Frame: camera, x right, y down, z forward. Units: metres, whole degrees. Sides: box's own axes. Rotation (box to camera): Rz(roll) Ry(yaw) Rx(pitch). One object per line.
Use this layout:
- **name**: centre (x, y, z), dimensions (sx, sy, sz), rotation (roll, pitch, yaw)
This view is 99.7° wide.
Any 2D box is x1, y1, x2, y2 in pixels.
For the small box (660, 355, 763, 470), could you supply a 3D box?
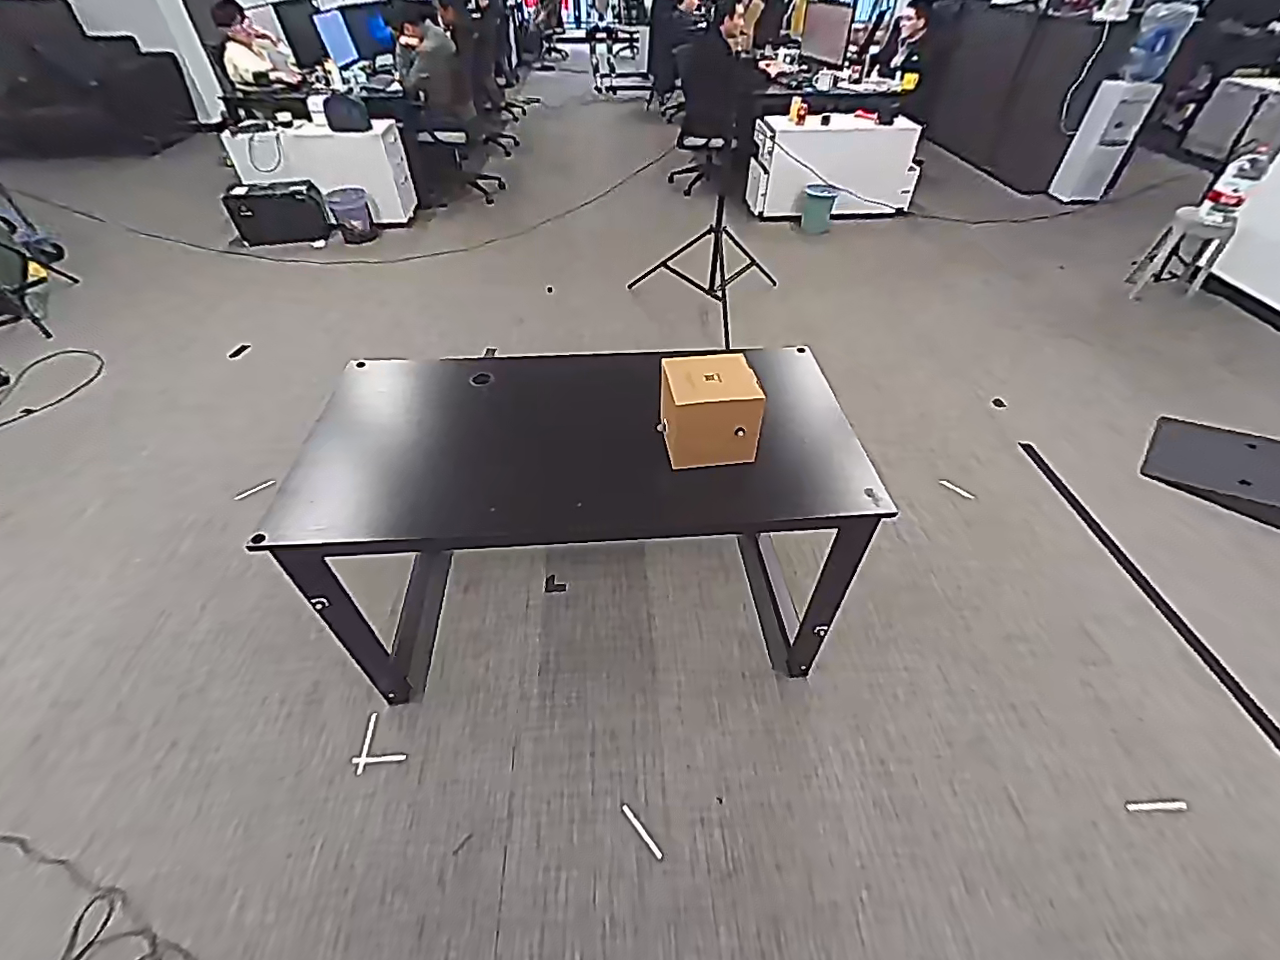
- **small box**: centre (0.140, -0.140, 1.129), dimensions (0.179, 0.176, 0.168), rotation (-7, 44, -5)
